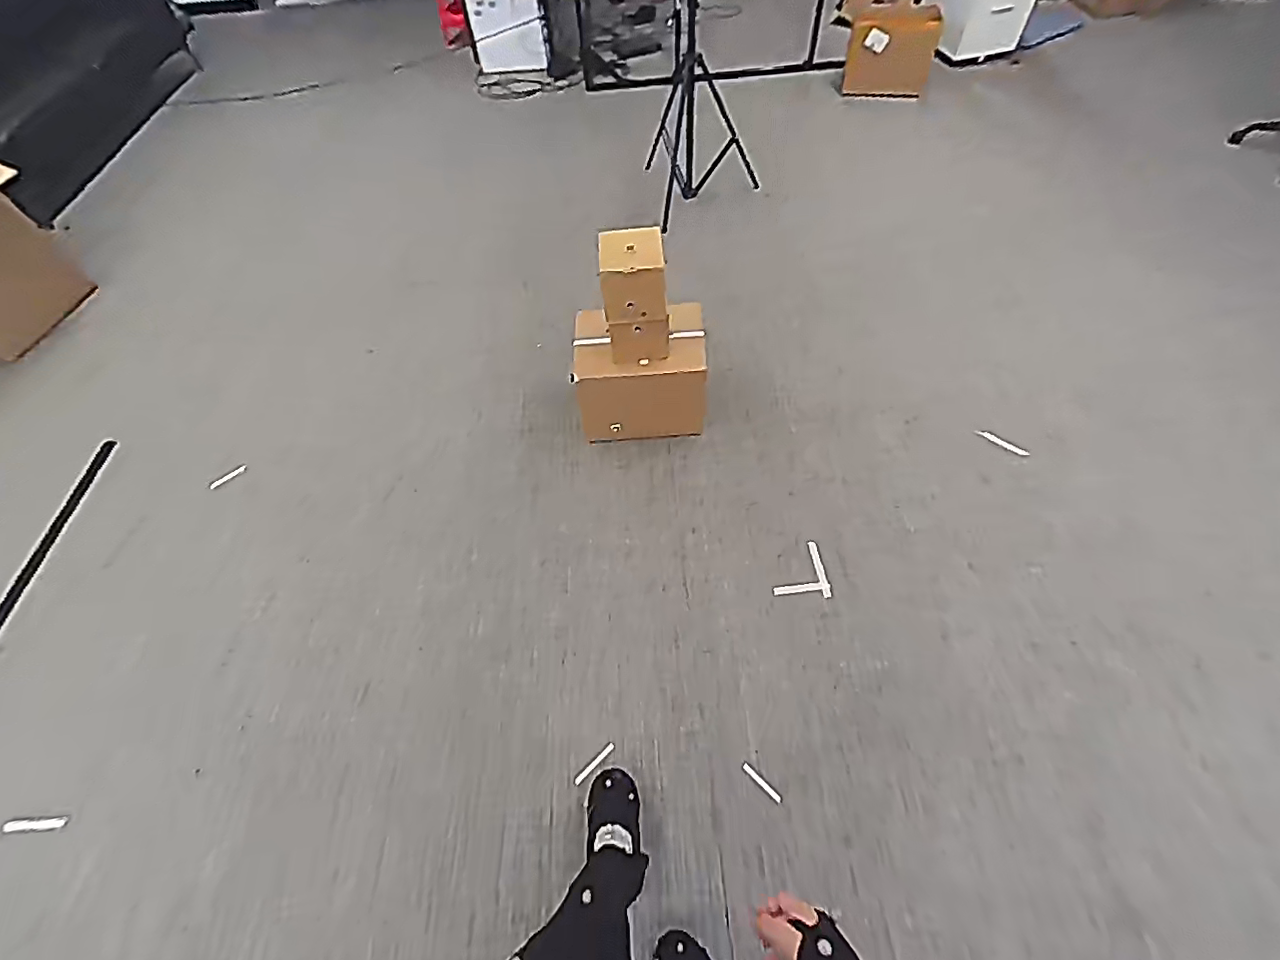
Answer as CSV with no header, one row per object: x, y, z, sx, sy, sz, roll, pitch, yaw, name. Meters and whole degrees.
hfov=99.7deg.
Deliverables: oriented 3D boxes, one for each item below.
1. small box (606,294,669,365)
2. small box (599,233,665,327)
-0.008,-0.461,1.612,0.179,0.176,0.168,-6,57,0,small box
-0.022,-0.543,1.472,0.168,0.176,0.179,-5,58,1,small box
